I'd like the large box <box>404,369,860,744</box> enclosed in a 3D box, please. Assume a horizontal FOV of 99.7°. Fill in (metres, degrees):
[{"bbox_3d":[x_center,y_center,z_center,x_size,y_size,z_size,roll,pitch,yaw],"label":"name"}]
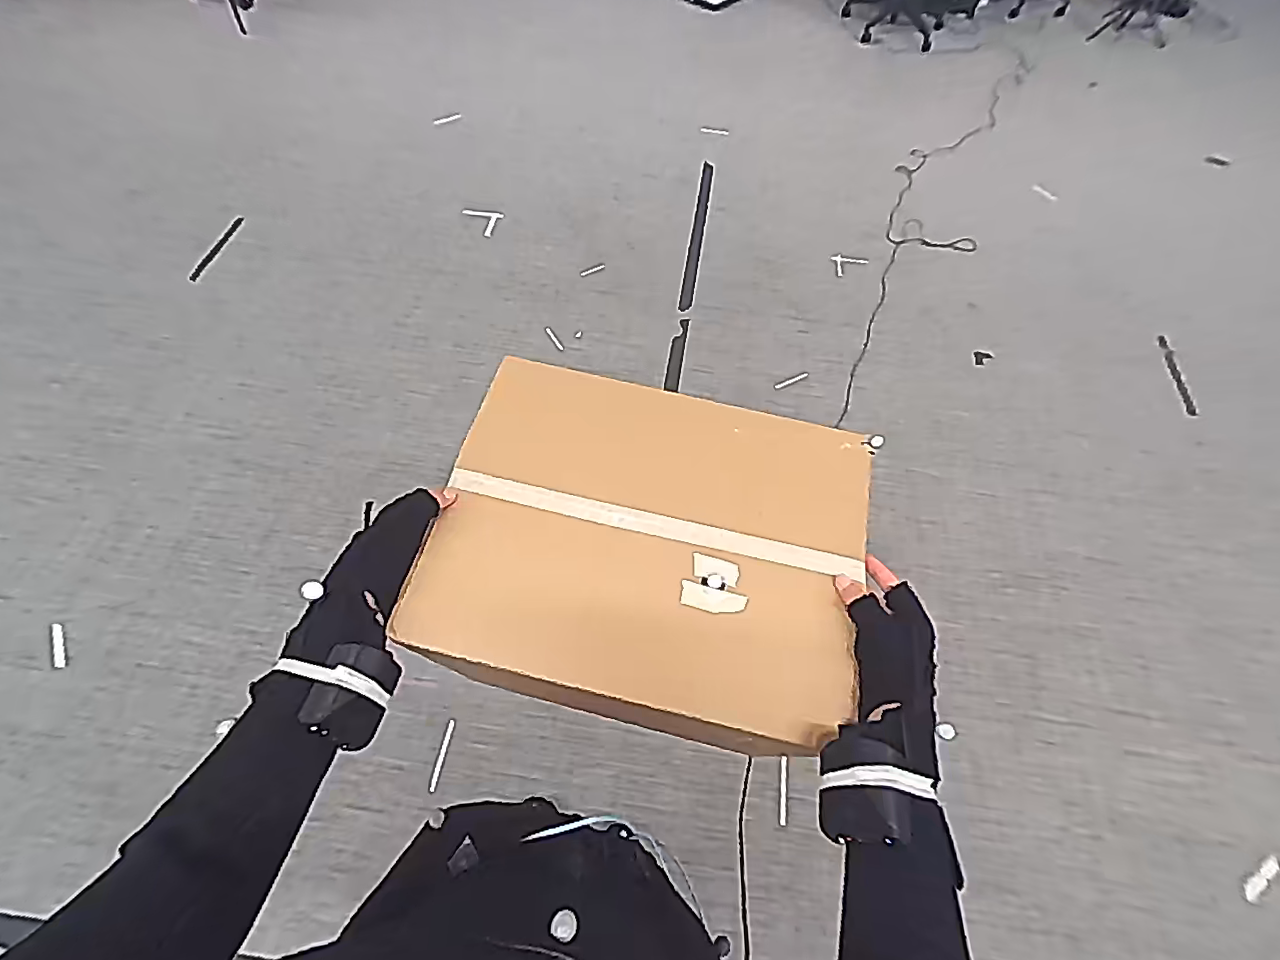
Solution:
[{"bbox_3d":[0.004,0.113,0.663,0.408,0.320,0.320,13,64,2],"label":"large box"}]
